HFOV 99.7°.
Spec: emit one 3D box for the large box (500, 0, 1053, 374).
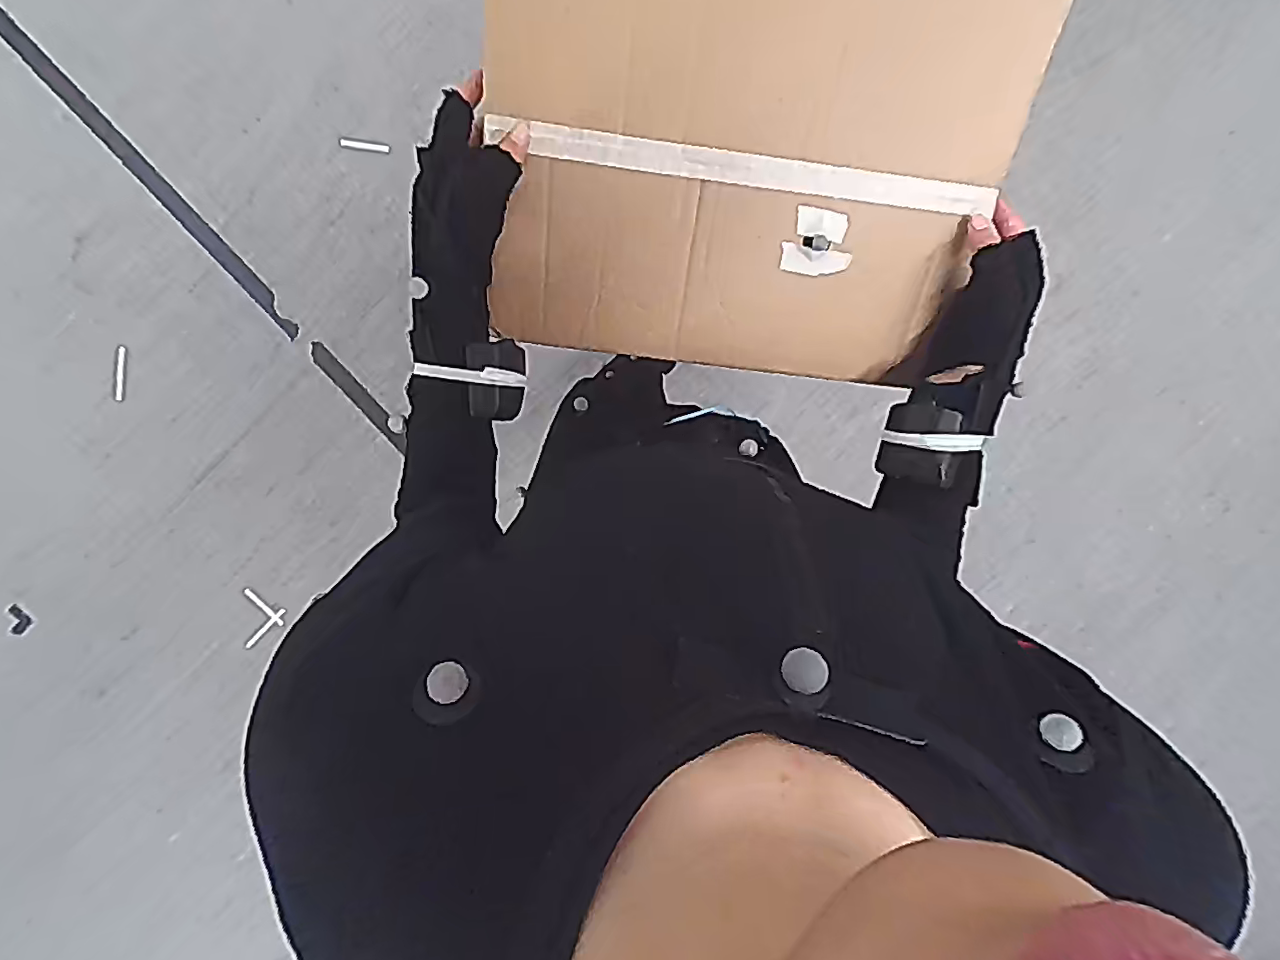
[{"bbox_3d":[0.082,-0.322,0.566,0.408,0.320,0.320,6,118,-5],"label":"large box"}]
